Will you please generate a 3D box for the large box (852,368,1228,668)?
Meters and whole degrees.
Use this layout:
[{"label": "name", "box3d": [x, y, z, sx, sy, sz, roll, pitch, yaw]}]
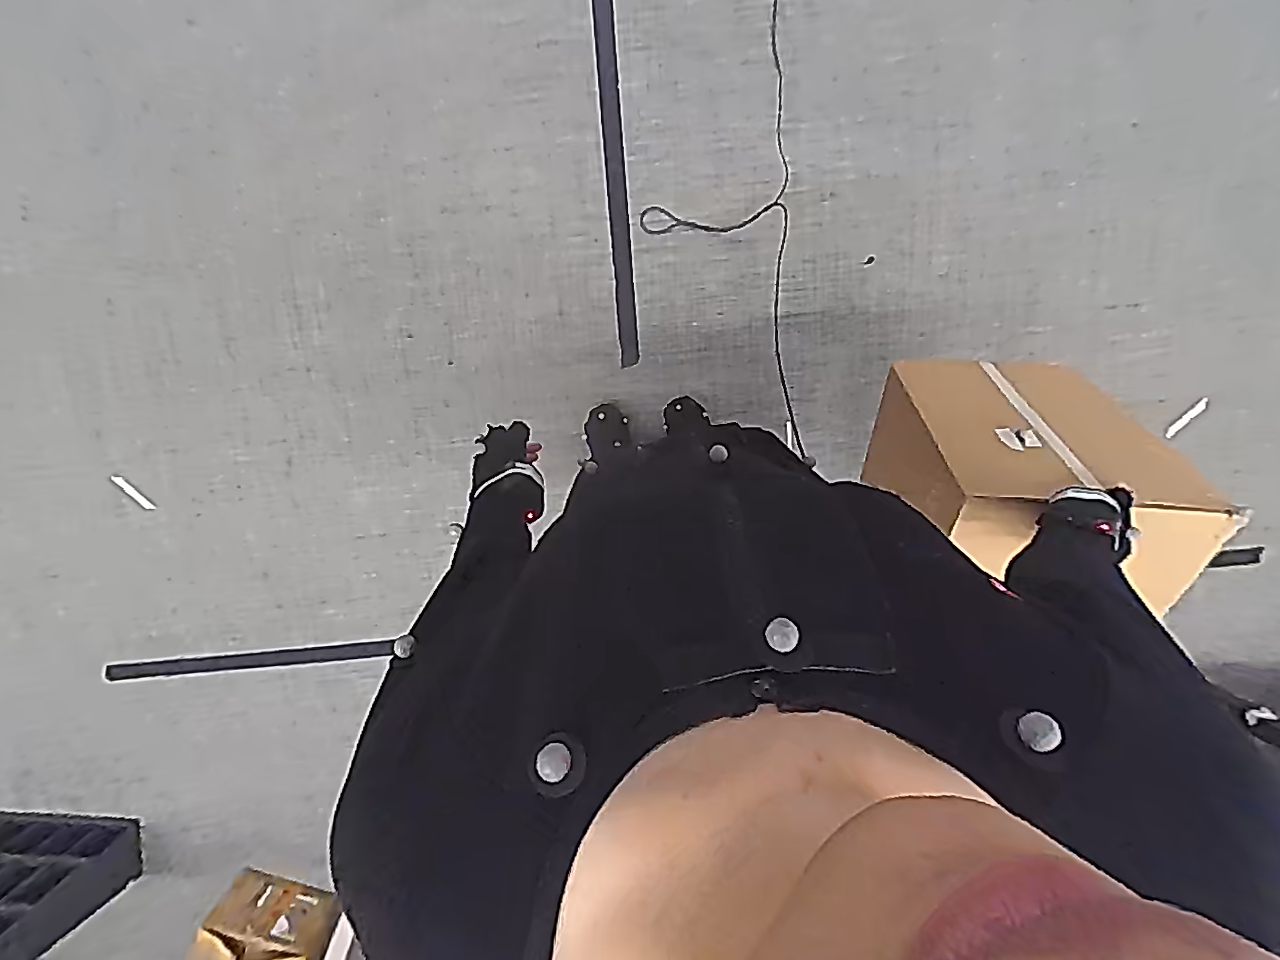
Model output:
[{"label": "large box", "box3d": [0.587, 0.044, 0.915, 0.320, 0.408, 0.320, 4, 127, 6]}]
